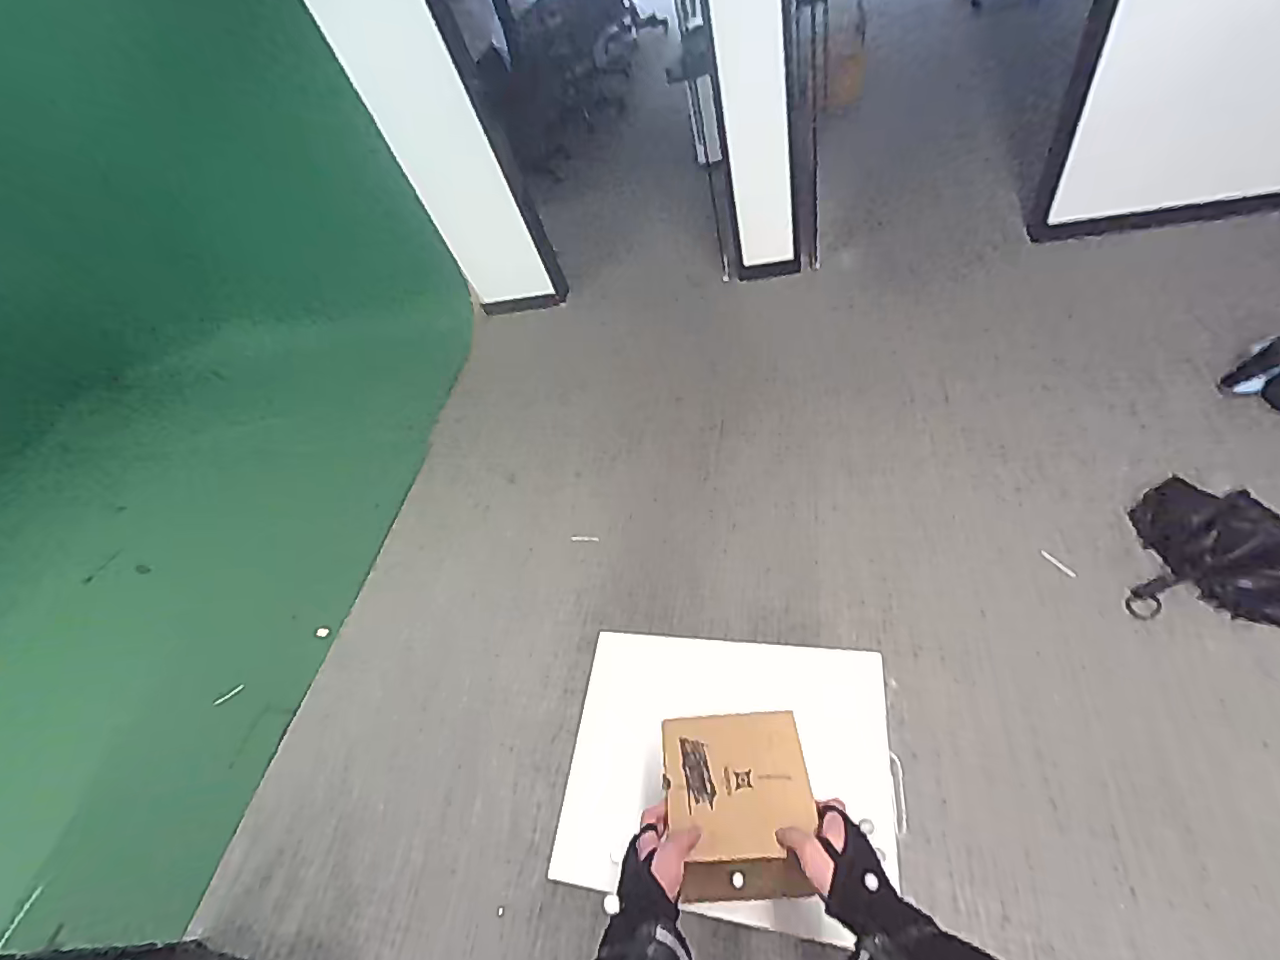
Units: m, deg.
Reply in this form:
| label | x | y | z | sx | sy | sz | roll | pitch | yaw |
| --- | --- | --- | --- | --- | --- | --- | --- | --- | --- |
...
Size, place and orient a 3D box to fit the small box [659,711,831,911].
| label | x | y | z | sx | sy | sz | roll | pitch | yaw |
| --- | --- | --- | --- | --- | --- | --- | --- | --- | --- |
| small box | 0.121 | 0.415 | 0.679 | 0.179 | 0.176 | 0.168 | -5 | 39 | 1 |
